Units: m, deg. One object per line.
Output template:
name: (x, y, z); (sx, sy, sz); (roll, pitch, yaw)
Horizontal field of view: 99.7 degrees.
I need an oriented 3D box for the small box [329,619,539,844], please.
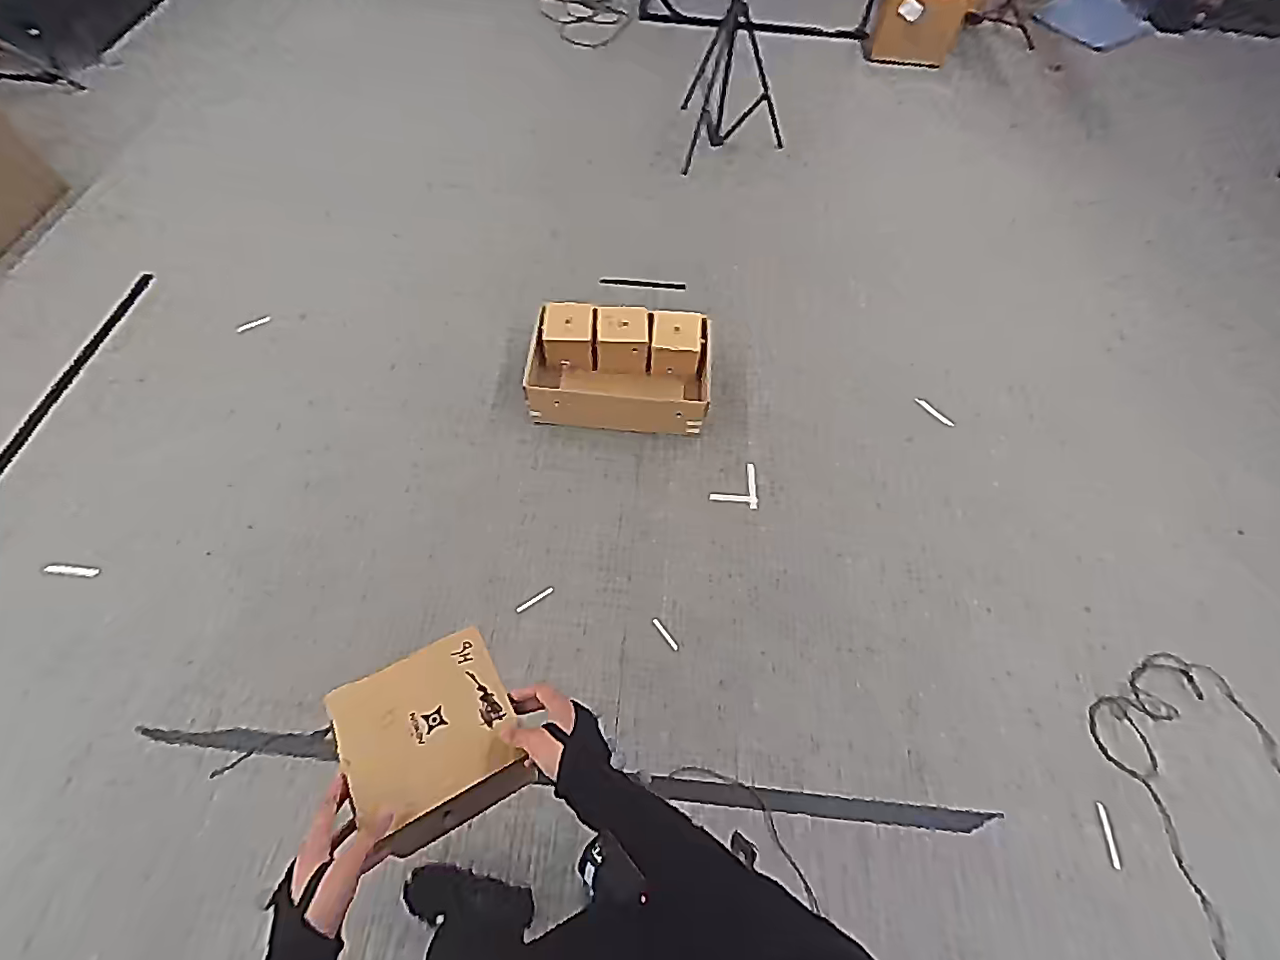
small box: (-0.233, 0.302, 0.643); (0.179, 0.176, 0.168); (-22, 59, -21)
